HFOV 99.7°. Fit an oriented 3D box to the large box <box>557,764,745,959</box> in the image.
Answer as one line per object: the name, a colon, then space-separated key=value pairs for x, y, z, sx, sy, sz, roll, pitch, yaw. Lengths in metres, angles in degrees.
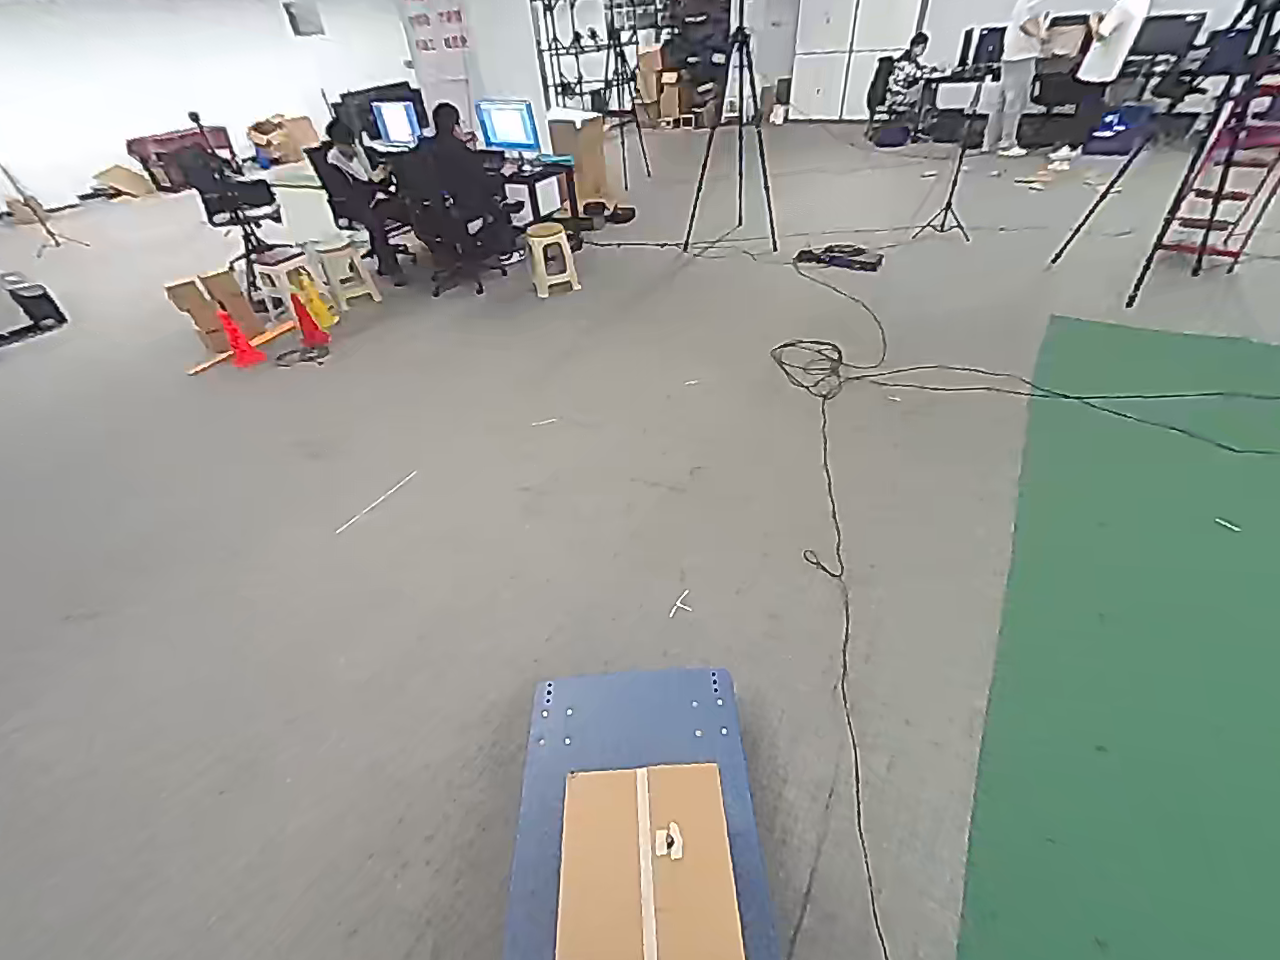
large box: x=0.024 y=0.845 z=1.068 sx=0.320 sy=0.320 sz=0.408 roll=-4 pitch=39 yaw=1
